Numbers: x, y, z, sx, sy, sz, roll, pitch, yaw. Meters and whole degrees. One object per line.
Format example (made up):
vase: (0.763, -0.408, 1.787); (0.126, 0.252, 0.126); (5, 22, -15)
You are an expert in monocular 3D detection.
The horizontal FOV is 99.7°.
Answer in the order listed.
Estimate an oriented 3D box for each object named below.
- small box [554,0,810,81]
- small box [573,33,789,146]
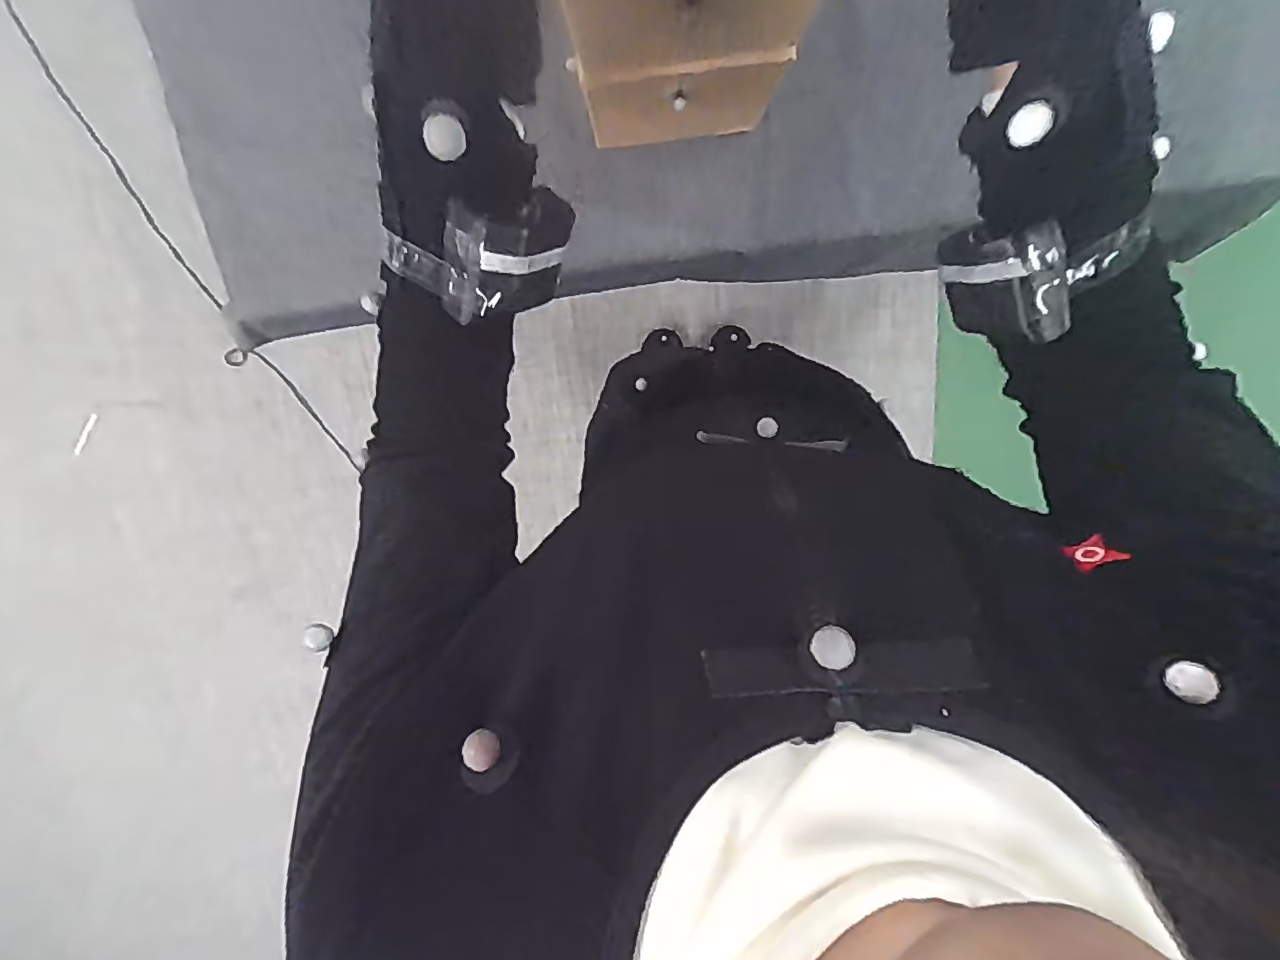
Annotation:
small box: (0.025, -0.385, 0.336); (0.179, 0.176, 0.168); (-7, 106, 4)
small box: (0.027, -0.427, 0.495); (0.179, 0.176, 0.168); (-6, 107, 1)
